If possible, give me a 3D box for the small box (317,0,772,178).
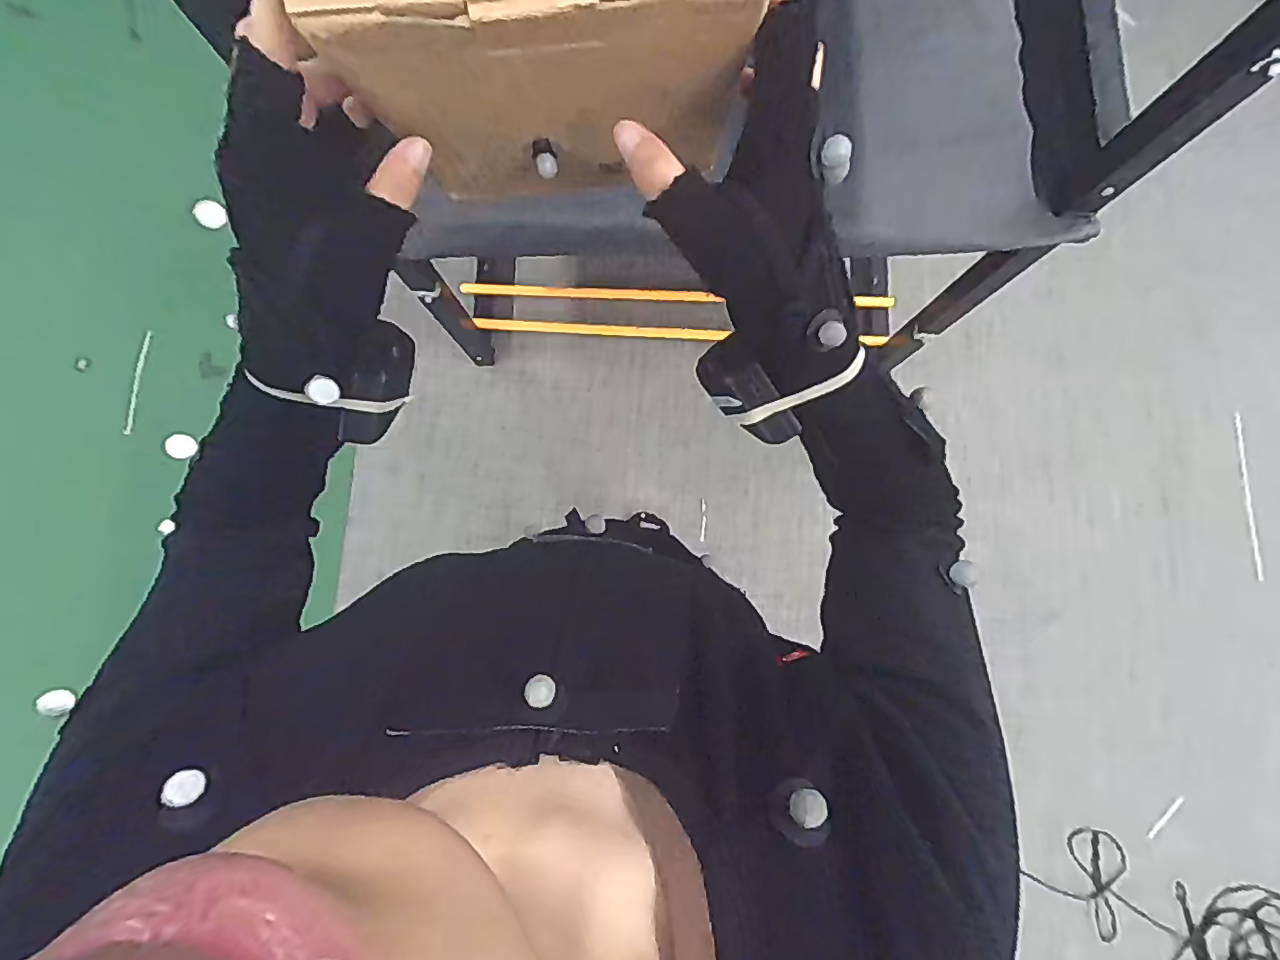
[{"bbox_3d":[-0.042,-0.262,0.239,0.168,0.176,0.179,-5,101,0],"label":"small box"}]
